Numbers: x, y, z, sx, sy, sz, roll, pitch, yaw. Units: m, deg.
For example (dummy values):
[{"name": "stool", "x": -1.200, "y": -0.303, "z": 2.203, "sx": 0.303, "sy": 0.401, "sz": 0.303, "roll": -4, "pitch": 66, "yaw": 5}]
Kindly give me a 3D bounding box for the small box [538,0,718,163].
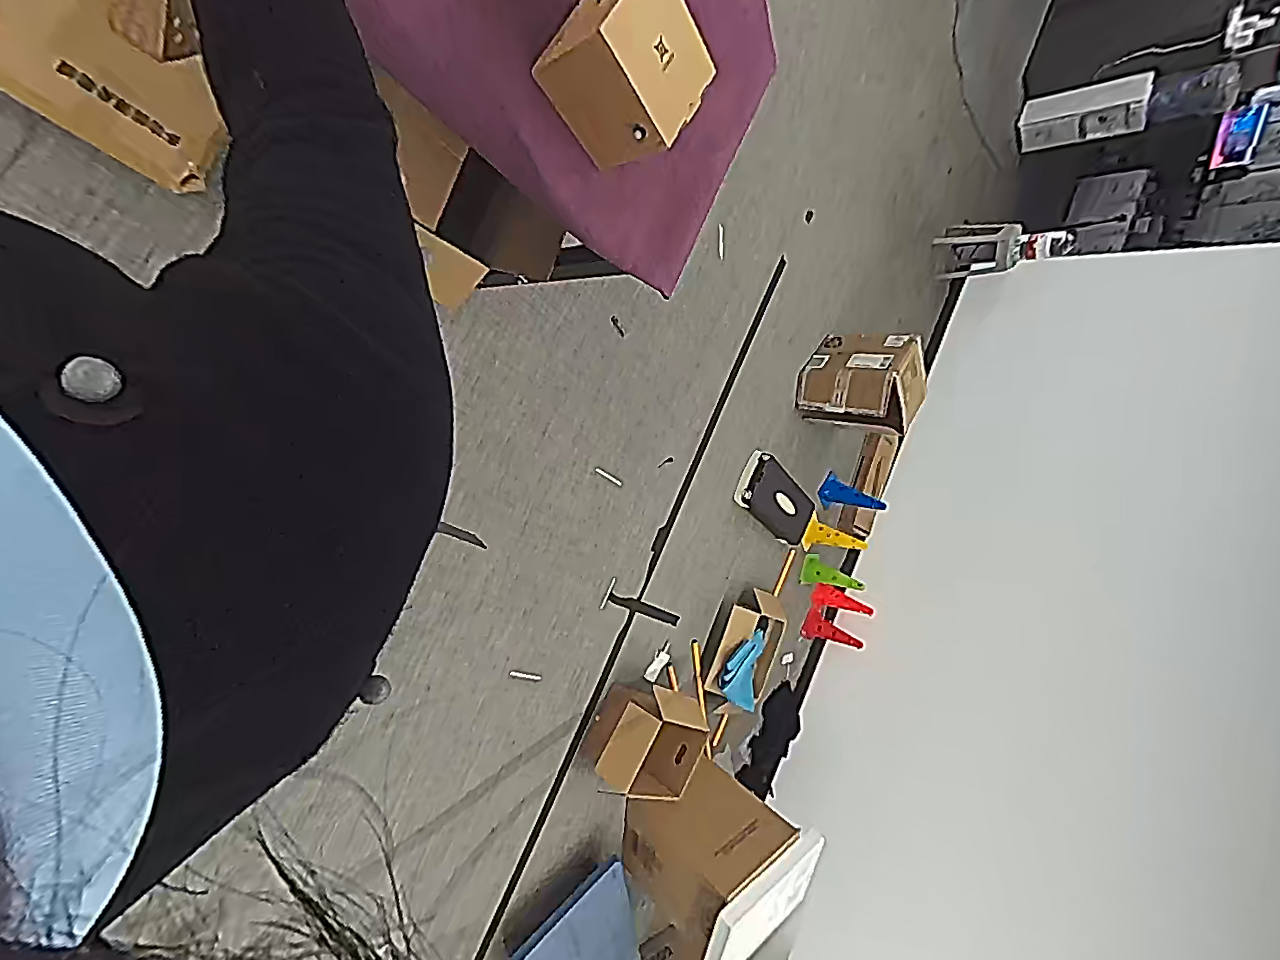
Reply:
[{"name": "small box", "x": -0.020, "y": -0.617, "z": 0.814, "sx": 0.179, "sy": 0.176, "sz": 0.168, "roll": 40, "pitch": 74, "yaw": -45}]
